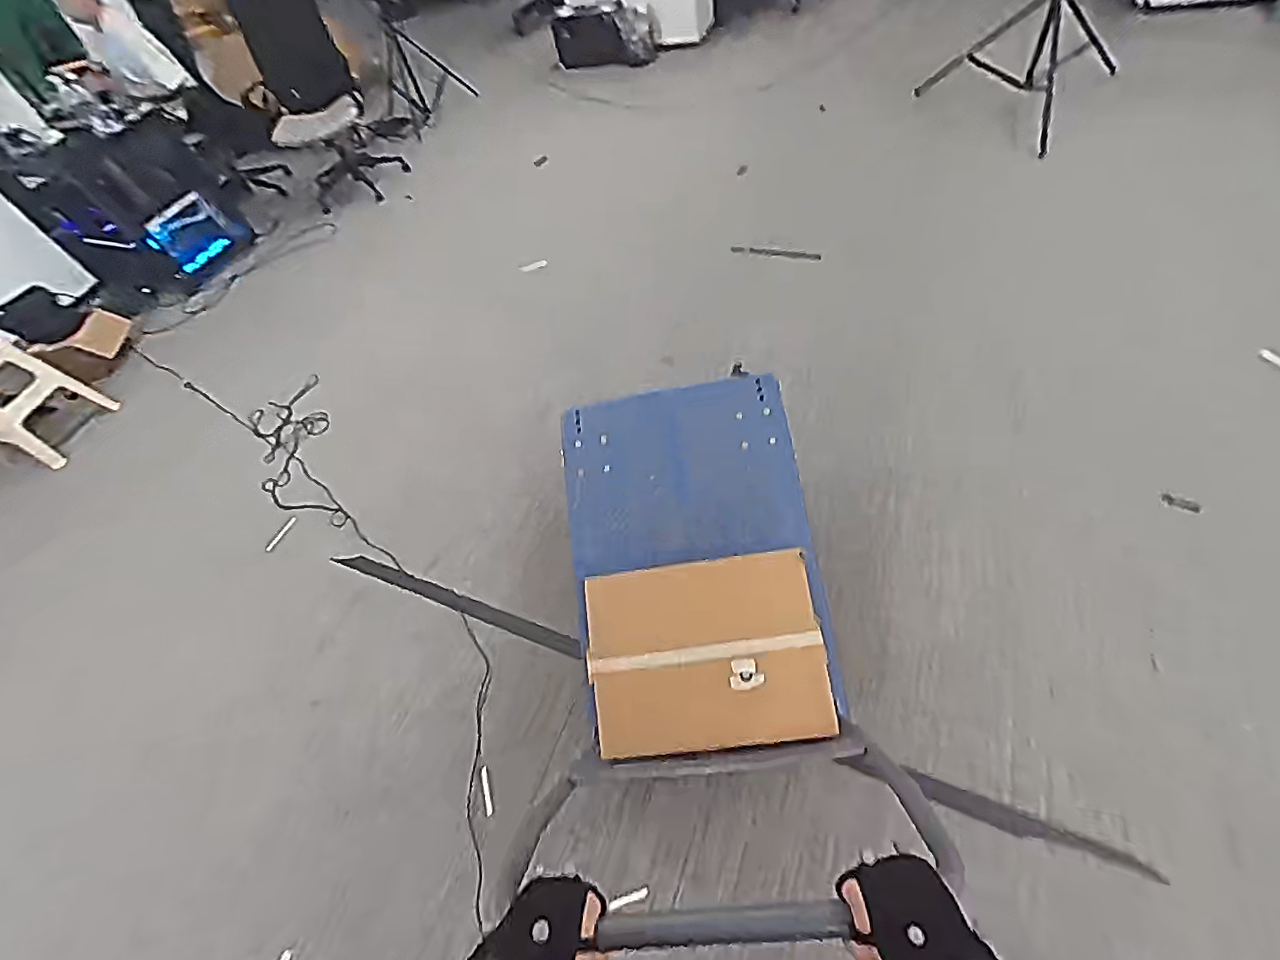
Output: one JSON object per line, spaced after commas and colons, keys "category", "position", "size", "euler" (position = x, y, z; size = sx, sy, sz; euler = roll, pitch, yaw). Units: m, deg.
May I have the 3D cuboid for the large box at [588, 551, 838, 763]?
{"category": "large box", "position": [0.136, 0.353, 1.108], "size": [0.408, 0.320, 0.320], "euler": [-10, 73, 5]}
